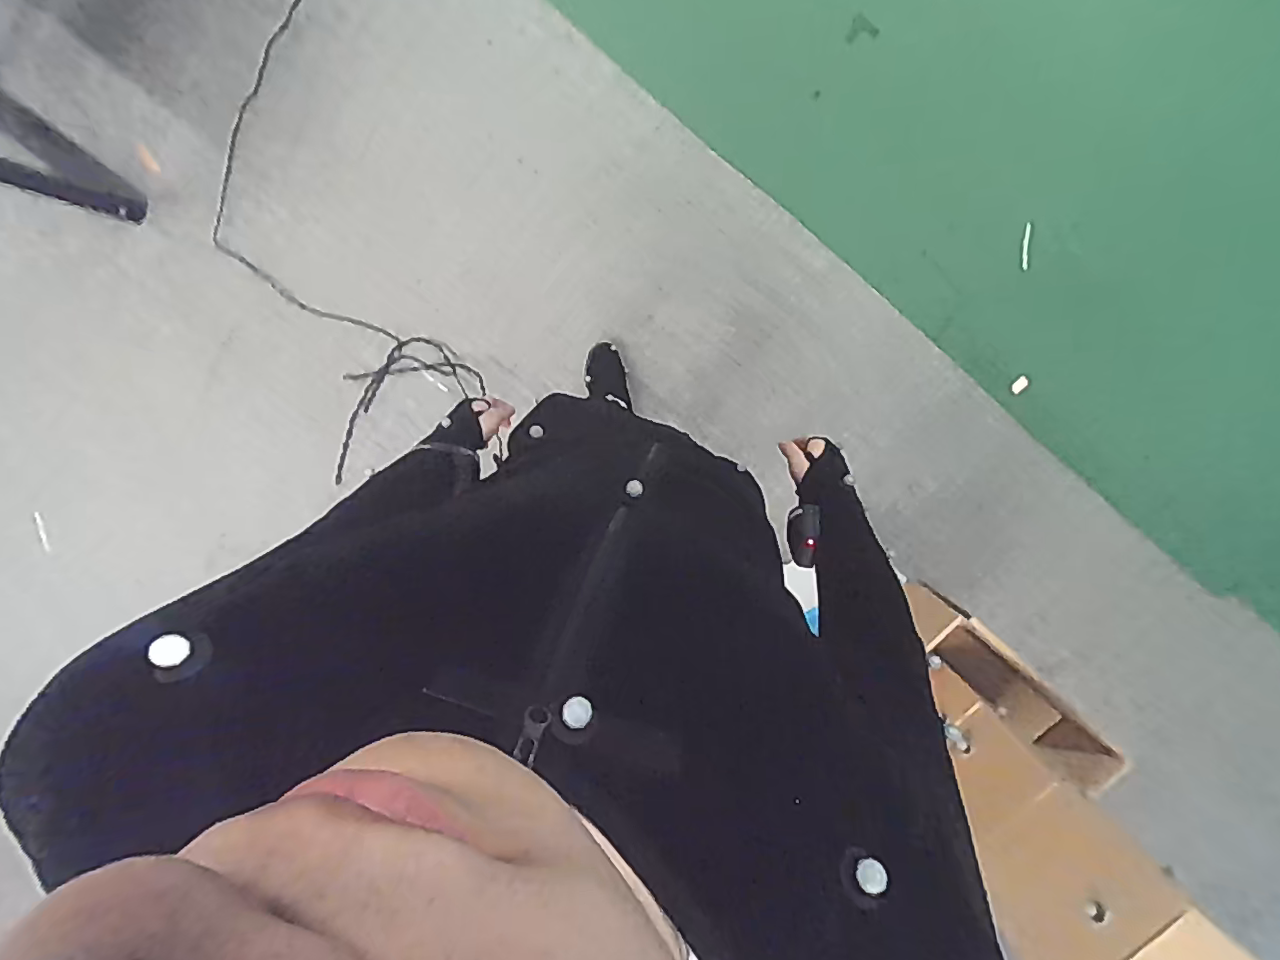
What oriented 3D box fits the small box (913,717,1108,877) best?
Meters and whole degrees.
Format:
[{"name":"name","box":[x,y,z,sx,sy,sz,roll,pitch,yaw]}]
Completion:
[{"name":"small box","box":[0.543,0.485,0.778,0.179,0.176,0.168,40,100,-6]}]

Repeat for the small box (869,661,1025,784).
[{"name":"small box","box":[0.542,0.452,0.937,0.179,0.176,0.168,40,99,-6]}]

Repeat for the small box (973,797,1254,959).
[{"name":"small box","box":[0.535,0.514,0.616,0.168,0.176,0.179,41,99,-6]}]
